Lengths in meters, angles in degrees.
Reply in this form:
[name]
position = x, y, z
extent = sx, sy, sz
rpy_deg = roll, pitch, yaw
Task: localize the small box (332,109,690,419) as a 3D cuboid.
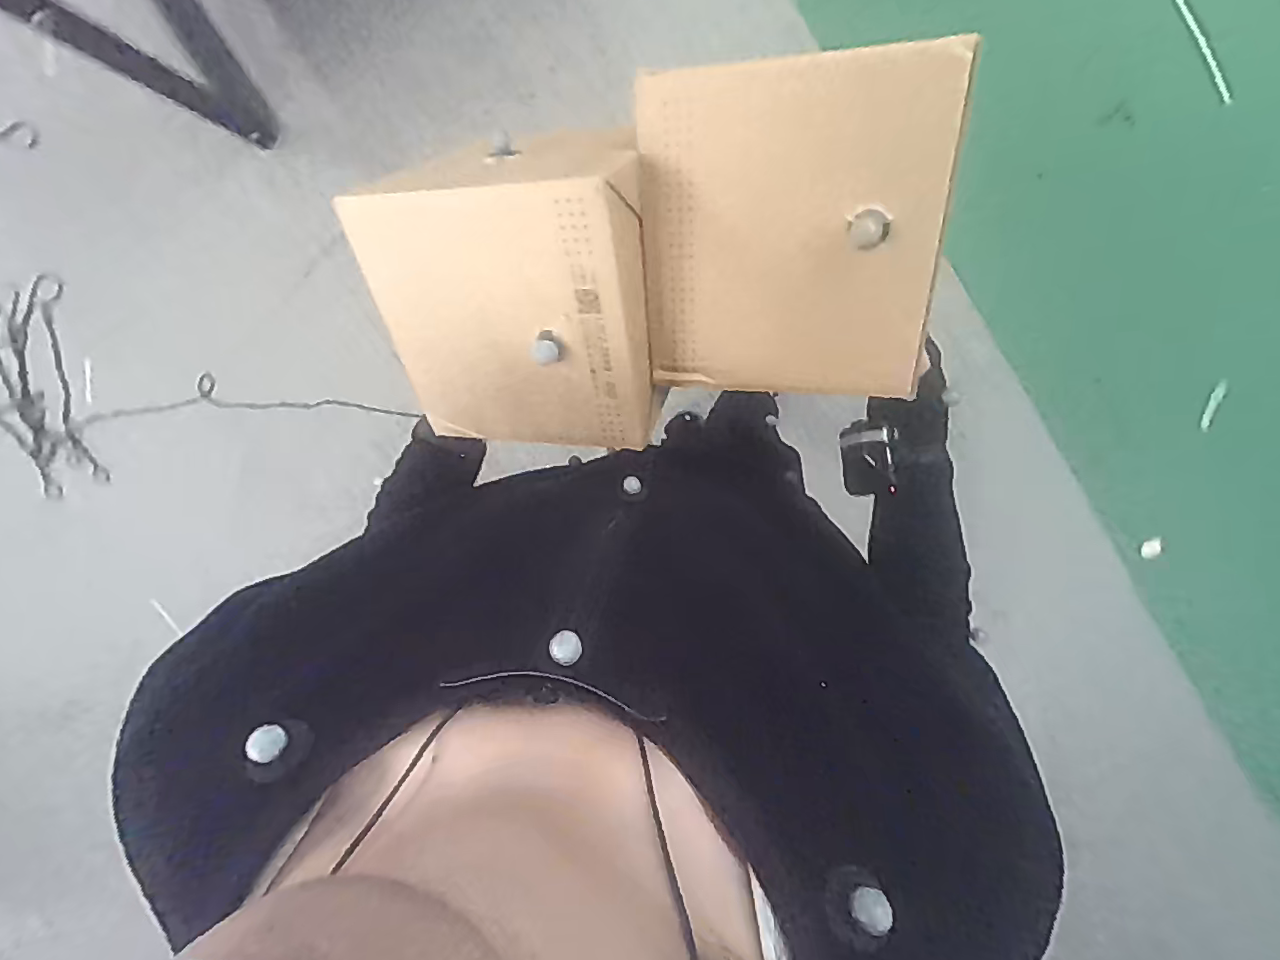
[small box]
position = -0.062, -0.153, 0.389
extent = 0.176, 0.179, 0.168
rpy_deg = 3, 130, 16
